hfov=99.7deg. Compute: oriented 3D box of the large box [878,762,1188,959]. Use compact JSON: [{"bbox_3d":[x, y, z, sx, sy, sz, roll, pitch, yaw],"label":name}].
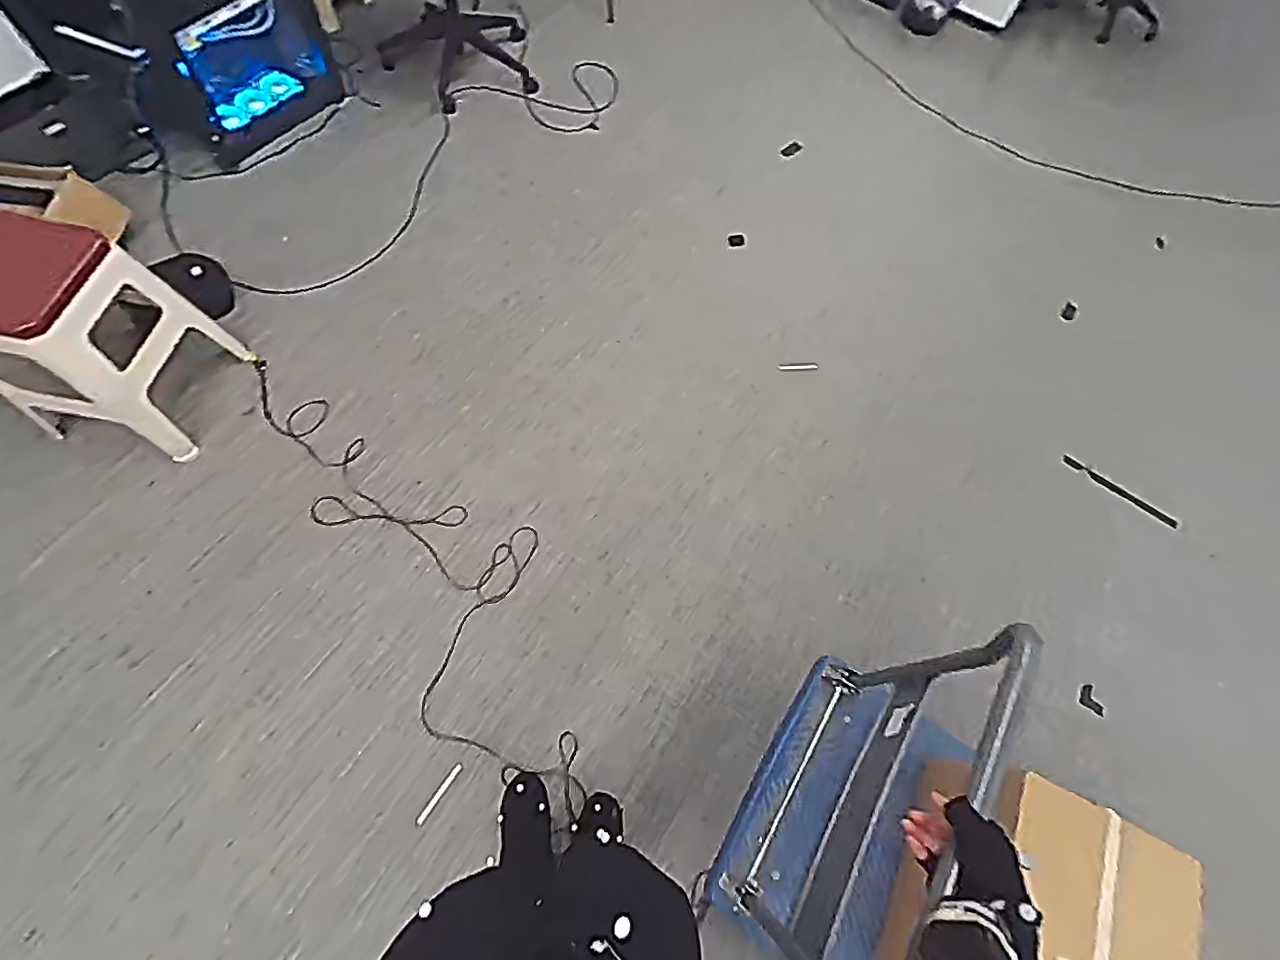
[{"bbox_3d":[0.696,0.796,0.988,0.320,0.320,0.408,27,66,6],"label":"large box"}]
